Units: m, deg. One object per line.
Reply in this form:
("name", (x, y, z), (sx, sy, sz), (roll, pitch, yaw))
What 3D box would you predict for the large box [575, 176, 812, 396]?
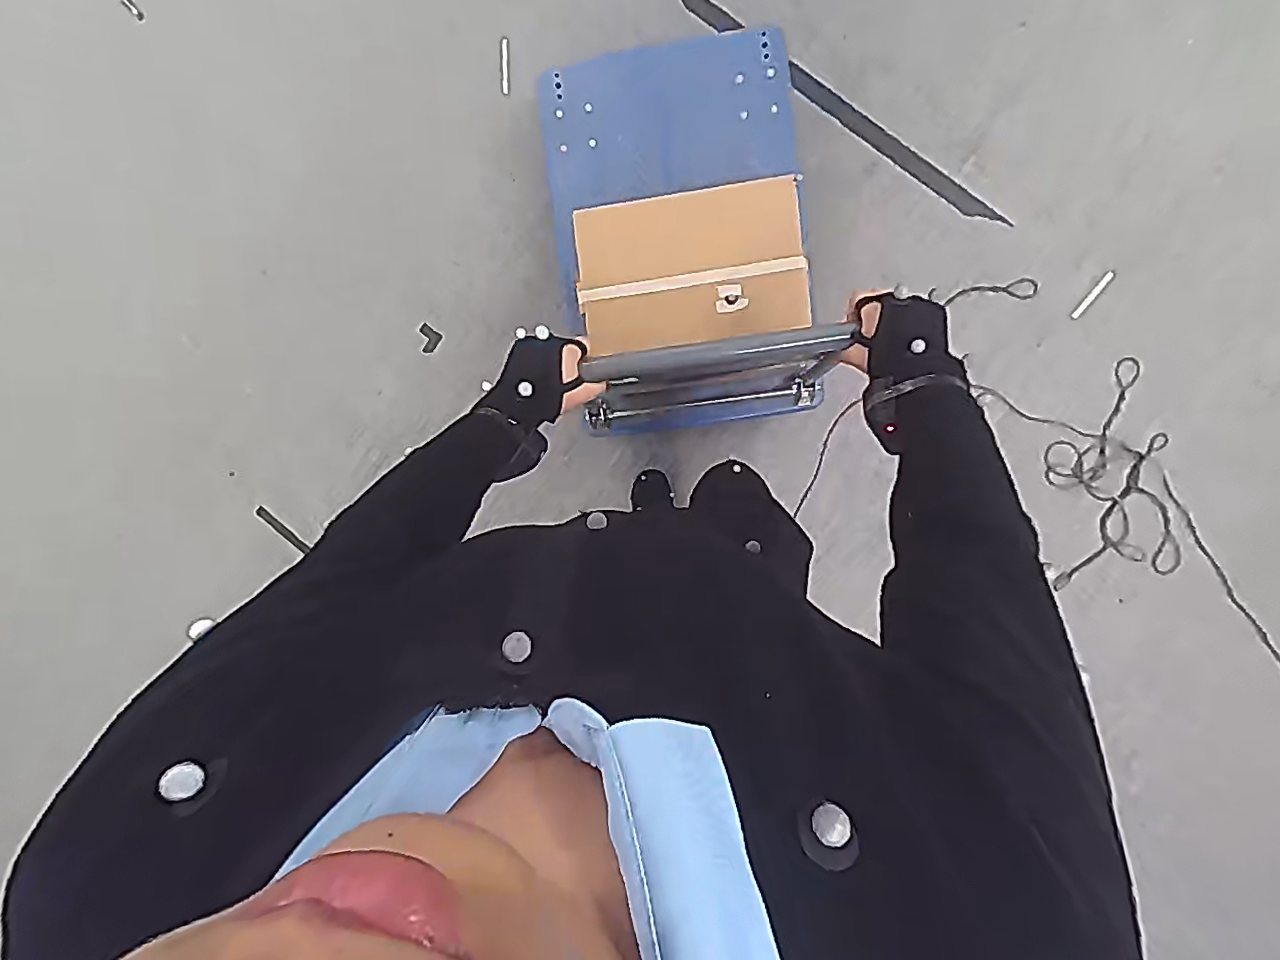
("large box", (0.105, -0.371, 1.131), (0.408, 0.320, 0.320), (-7, 93, 4))
